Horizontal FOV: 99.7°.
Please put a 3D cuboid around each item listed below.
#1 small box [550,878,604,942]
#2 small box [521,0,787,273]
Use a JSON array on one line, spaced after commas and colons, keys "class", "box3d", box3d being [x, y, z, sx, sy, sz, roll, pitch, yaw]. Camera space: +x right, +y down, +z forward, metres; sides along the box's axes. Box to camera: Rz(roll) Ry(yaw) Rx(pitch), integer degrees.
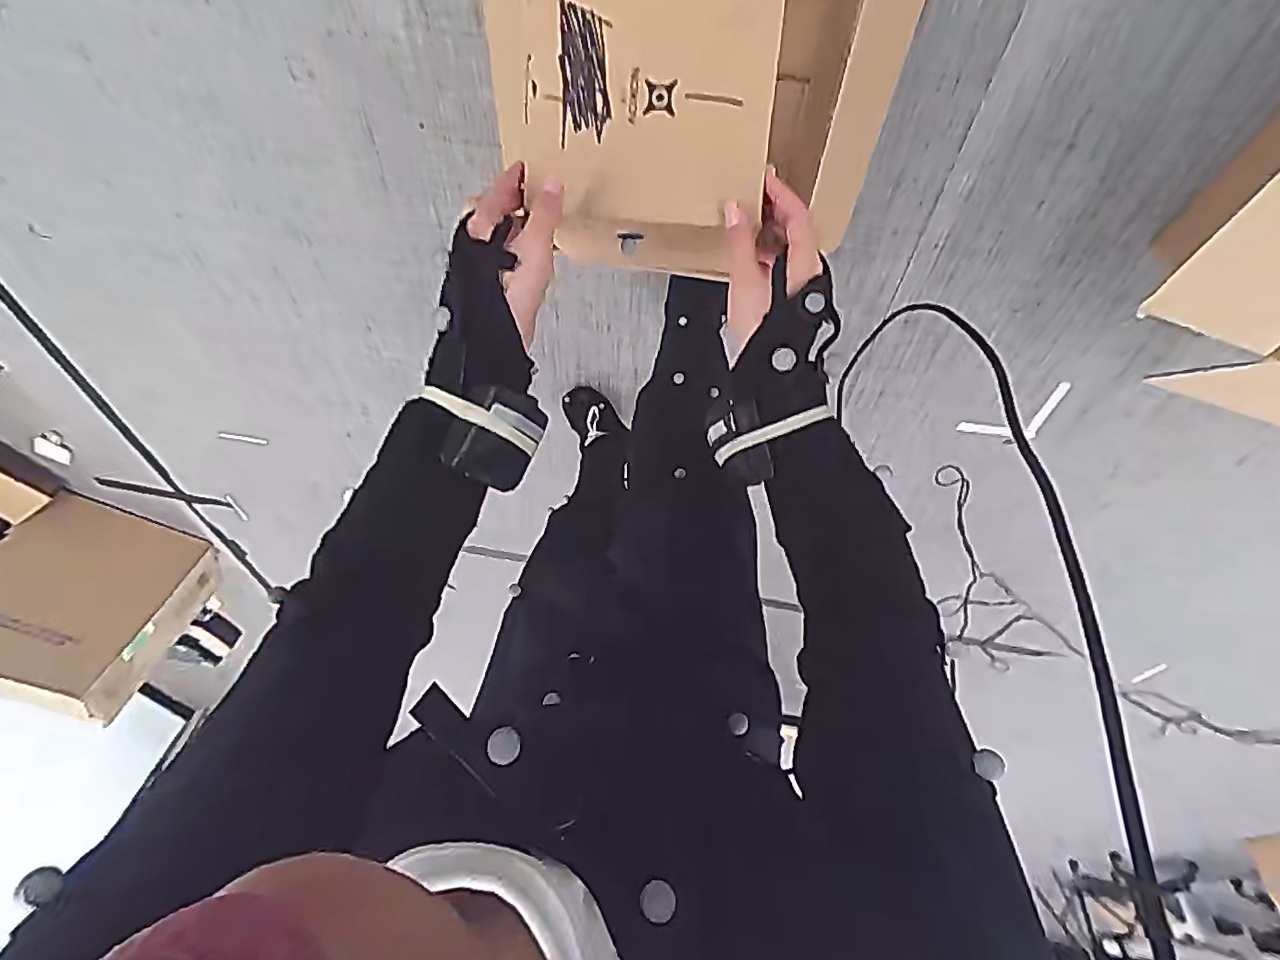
[{"class": "small box", "box3d": [-0.245, 1.693, 2.132, 0.179, 0.176, 0.168, 9, 137, 4]}, {"class": "small box", "box3d": [0.013, -0.277, 0.452, 0.179, 0.176, 0.168, 5, 102, 4]}]
